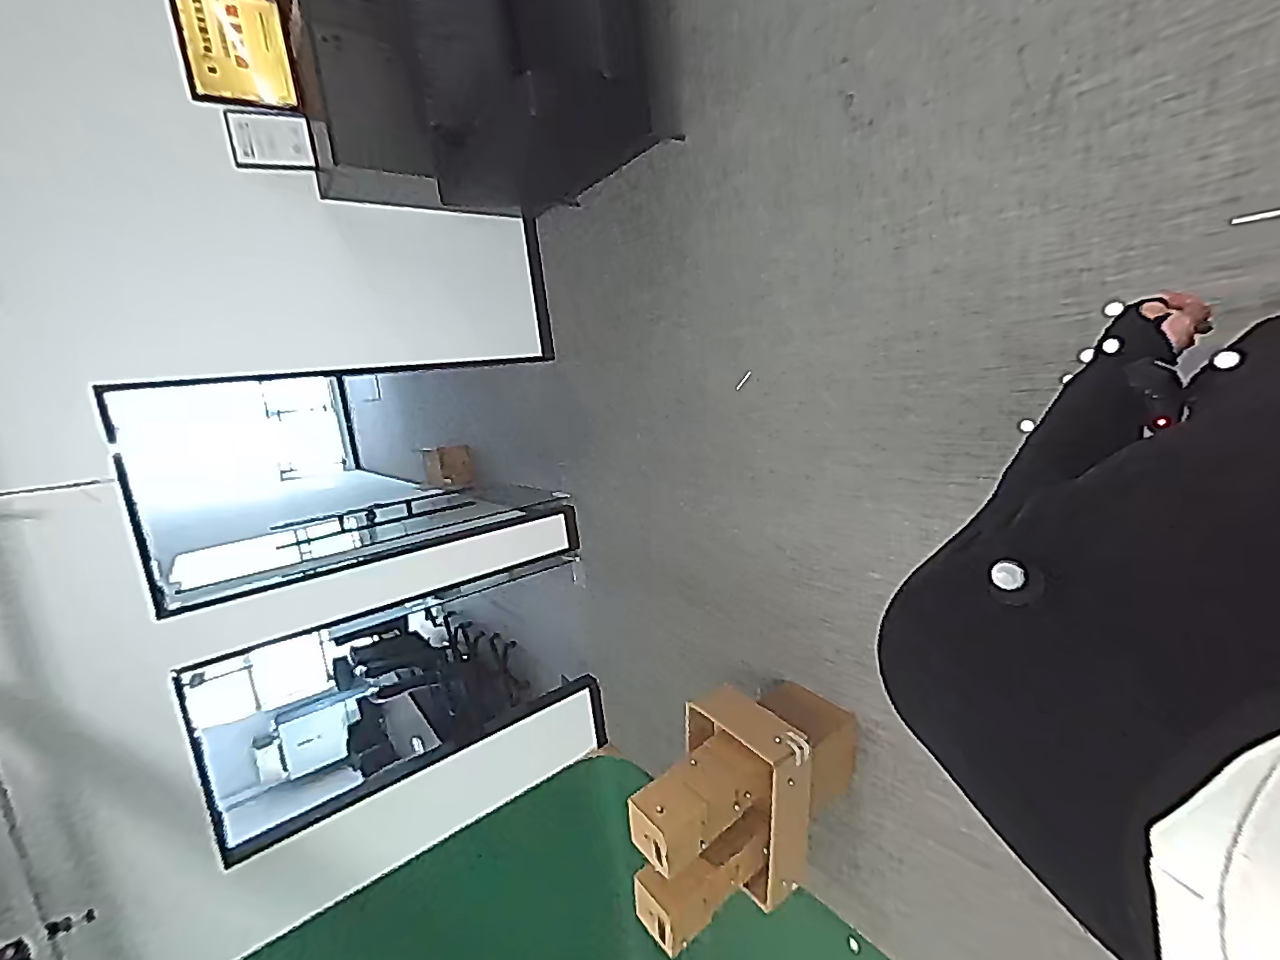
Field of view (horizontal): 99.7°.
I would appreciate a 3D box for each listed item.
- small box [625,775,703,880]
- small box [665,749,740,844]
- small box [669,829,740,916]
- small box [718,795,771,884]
[{"bbox_3d":[0.078,1.038,1.637,0.179,0.176,0.168,14,113,50],"label":"small box"},{"bbox_3d":[0.201,1.004,1.739,0.179,0.176,0.168,14,113,49],"label":"small box"},{"bbox_3d":[0.212,1.290,1.820,0.179,0.176,0.168,17,114,48],"label":"small box"},{"bbox_3d":[0.339,1.258,1.913,0.179,0.176,0.168,18,116,49],"label":"small box"}]
